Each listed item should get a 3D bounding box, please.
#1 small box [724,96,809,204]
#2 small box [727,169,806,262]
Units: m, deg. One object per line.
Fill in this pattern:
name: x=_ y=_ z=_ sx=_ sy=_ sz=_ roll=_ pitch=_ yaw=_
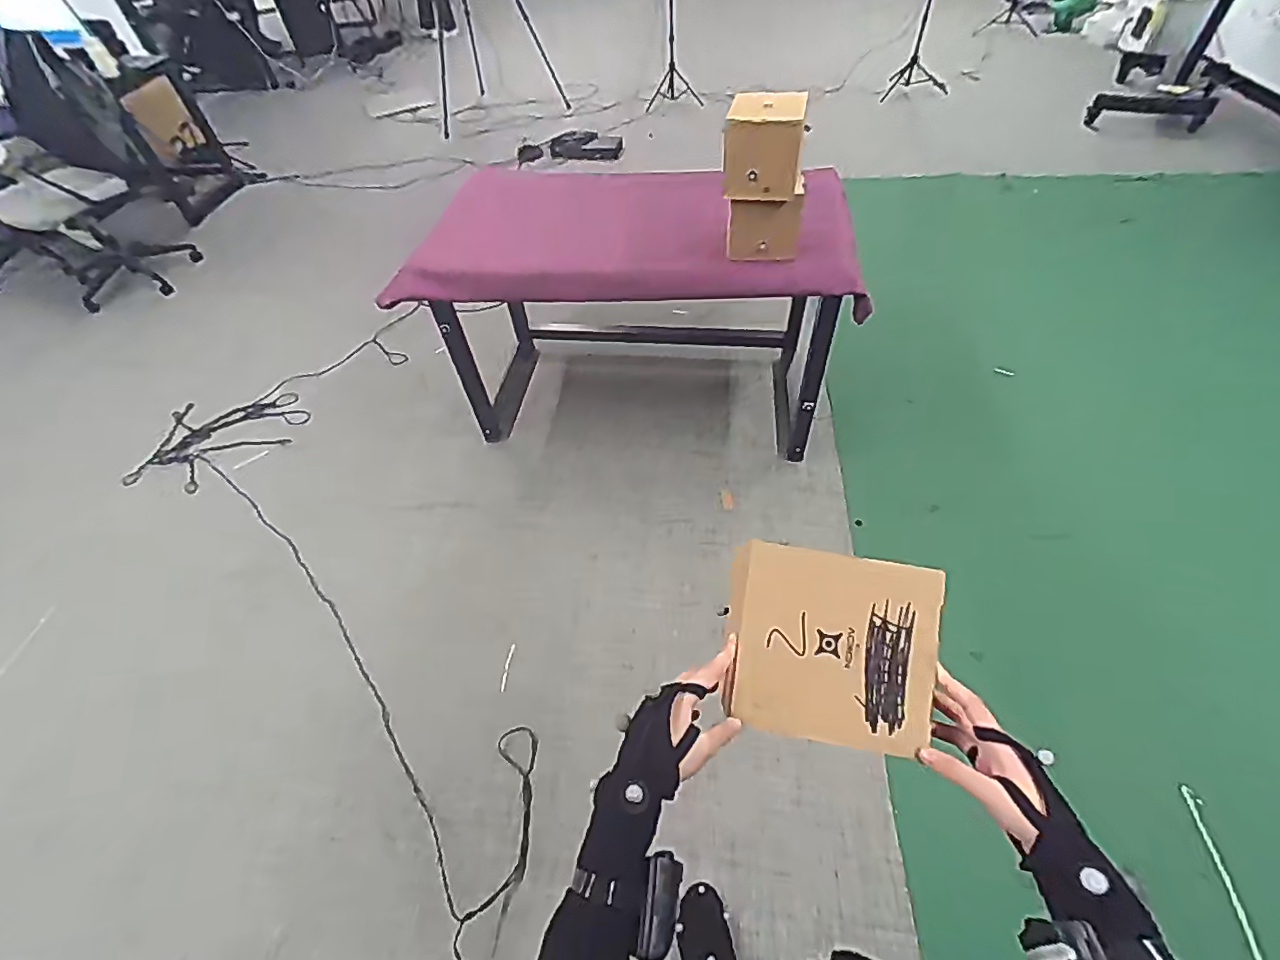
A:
small box: x=0.291 y=-0.770 z=1.261 sx=0.168 sy=0.176 sz=0.179 roll=8 pitch=52 yaw=13
small box: x=0.320 y=-0.680 z=1.396 sx=0.179 sy=0.176 sz=0.168 roll=2 pitch=50 yaw=8
